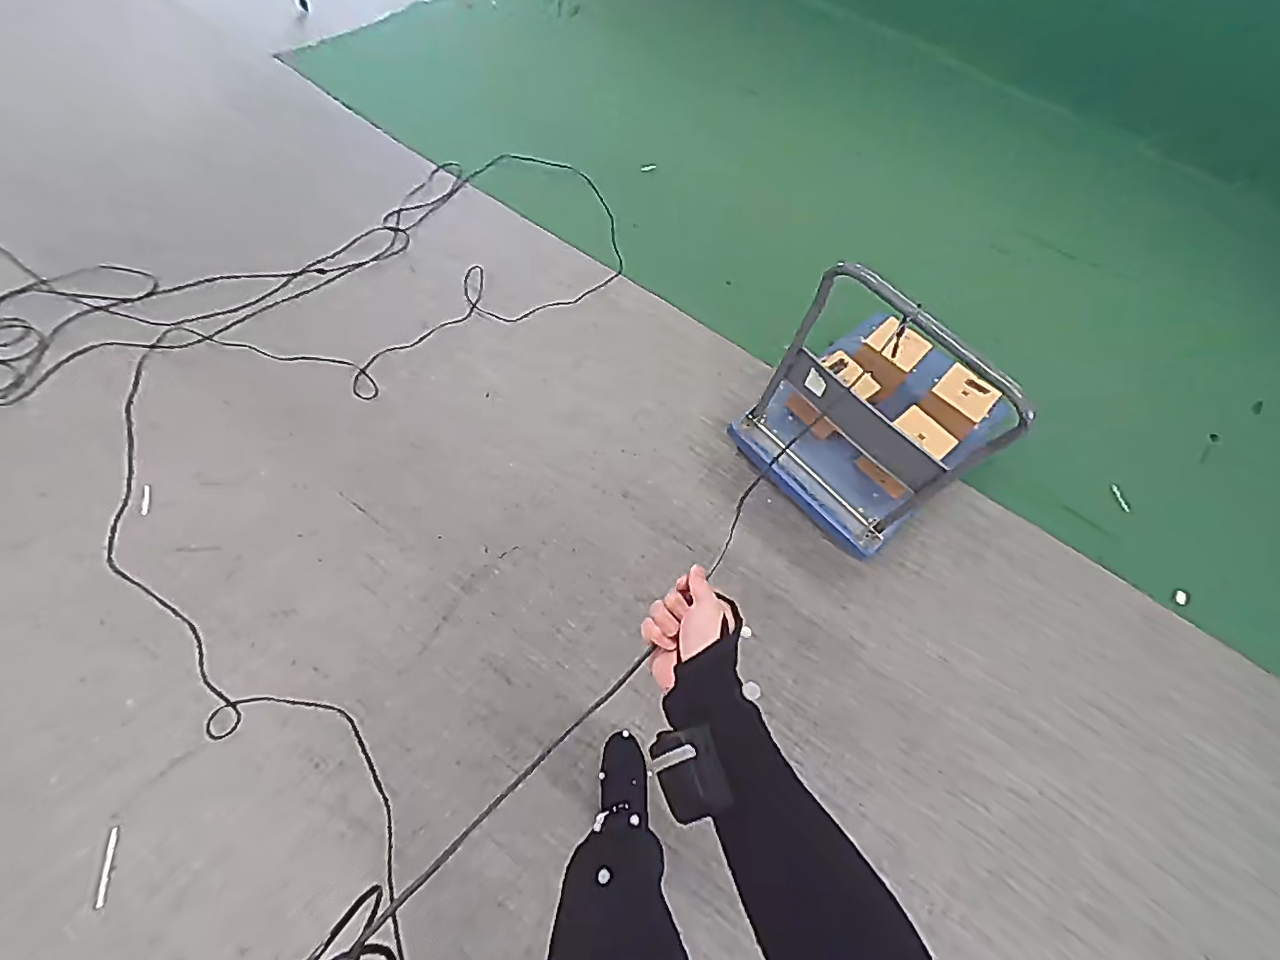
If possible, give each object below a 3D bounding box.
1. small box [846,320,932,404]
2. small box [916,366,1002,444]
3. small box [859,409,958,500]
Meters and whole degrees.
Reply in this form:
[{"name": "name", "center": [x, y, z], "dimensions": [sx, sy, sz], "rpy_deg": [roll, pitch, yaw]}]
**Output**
[{"name": "small box", "center": [0.815, -0.386, 1.792], "dimensions": [0.168, 0.176, 0.179], "rpy_deg": [43, 64, 14]}, {"name": "small box", "center": [0.995, -0.222, 1.727], "dimensions": [0.168, 0.176, 0.179], "rpy_deg": [42, 65, 16]}, {"name": "small box", "center": [0.796, -0.074, 1.620], "dimensions": [0.179, 0.176, 0.168], "rpy_deg": [-36, 72, -23]}]
